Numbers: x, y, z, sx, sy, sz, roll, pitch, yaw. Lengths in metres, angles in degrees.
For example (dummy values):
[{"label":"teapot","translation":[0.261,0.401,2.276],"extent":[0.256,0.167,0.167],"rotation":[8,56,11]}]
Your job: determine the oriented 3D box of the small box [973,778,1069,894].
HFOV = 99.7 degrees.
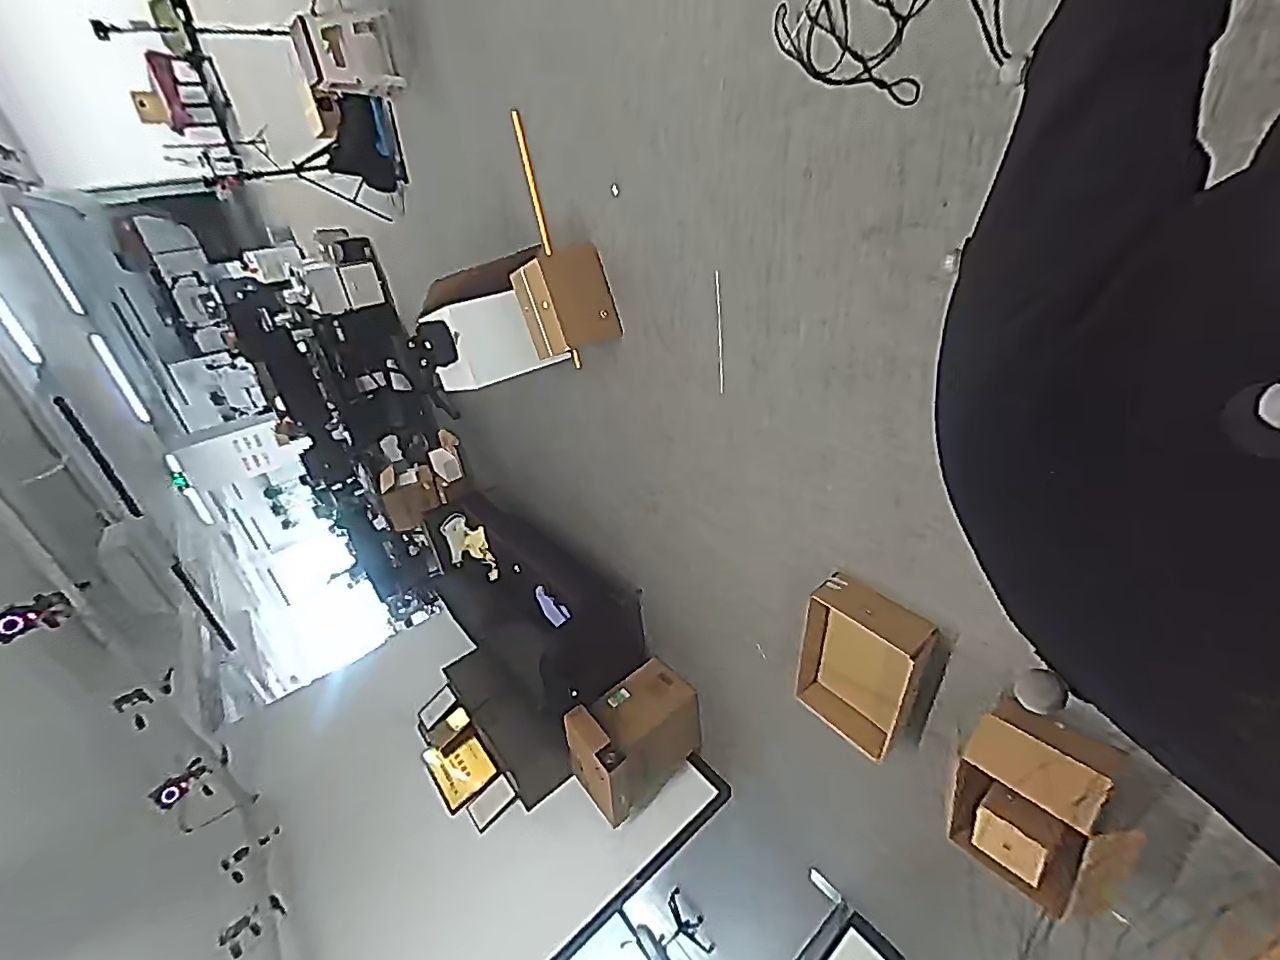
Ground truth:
[{"label":"small box","translation":[1.071,0.989,1.518],"extent":[0.168,0.176,0.179],"rotation":[23,129,49]}]
